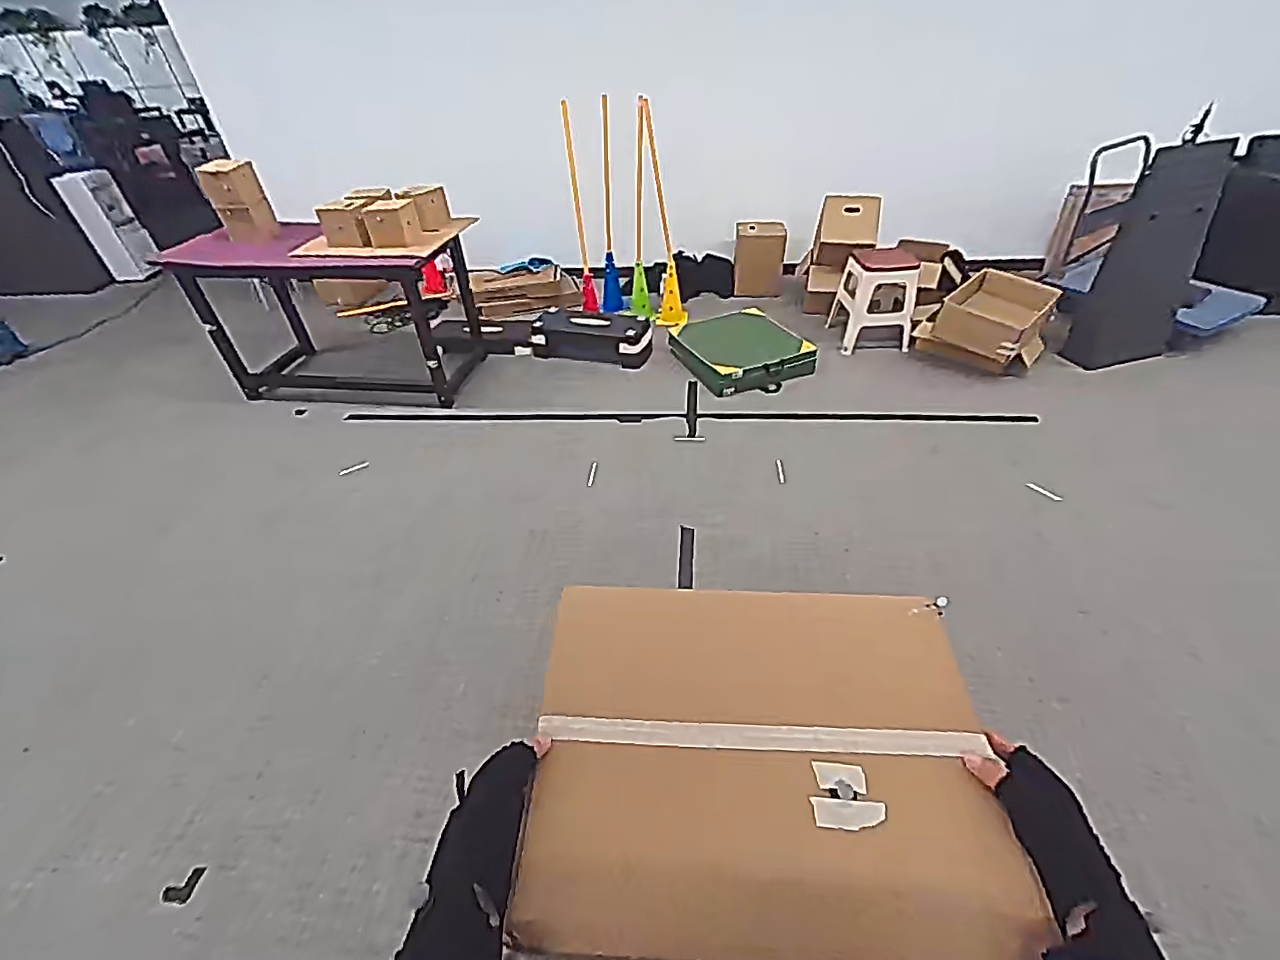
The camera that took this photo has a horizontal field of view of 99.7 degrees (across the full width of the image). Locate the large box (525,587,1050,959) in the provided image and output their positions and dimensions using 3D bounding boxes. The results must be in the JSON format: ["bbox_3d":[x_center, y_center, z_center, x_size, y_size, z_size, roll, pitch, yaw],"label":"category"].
[{"bbox_3d":[0.117,0.340,0.616,0.408,0.320,0.320,2,47,4],"label":"large box"}]
